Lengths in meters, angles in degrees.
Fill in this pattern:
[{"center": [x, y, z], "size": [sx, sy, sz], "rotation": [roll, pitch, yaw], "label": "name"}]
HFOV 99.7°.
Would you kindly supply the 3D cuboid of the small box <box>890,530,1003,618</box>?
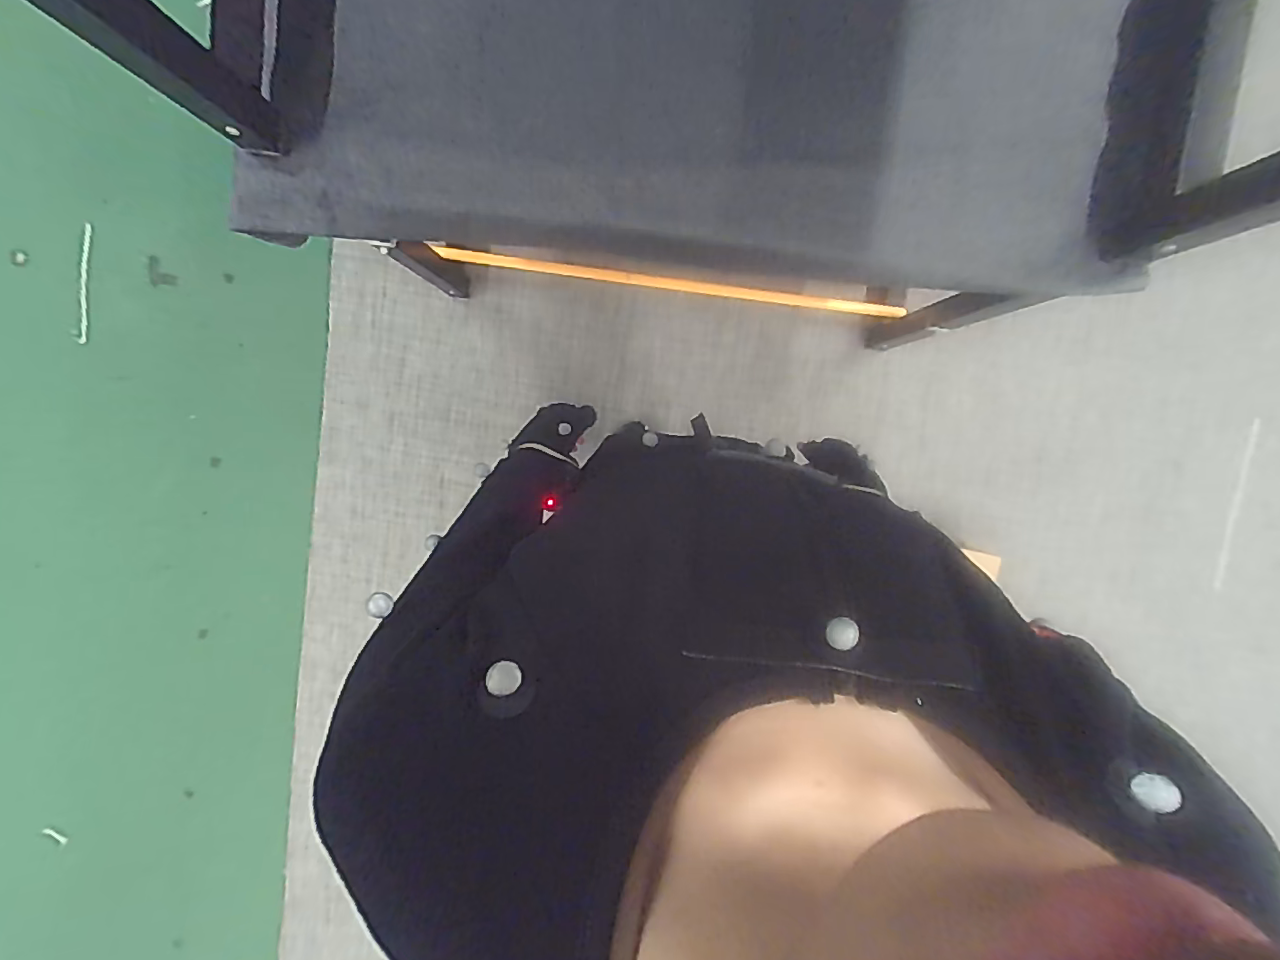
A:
[{"center": [0.794, 0.239, 1.419], "size": [0.179, 0.176, 0.168], "rotation": [13, 95, 0], "label": "small box"}]
